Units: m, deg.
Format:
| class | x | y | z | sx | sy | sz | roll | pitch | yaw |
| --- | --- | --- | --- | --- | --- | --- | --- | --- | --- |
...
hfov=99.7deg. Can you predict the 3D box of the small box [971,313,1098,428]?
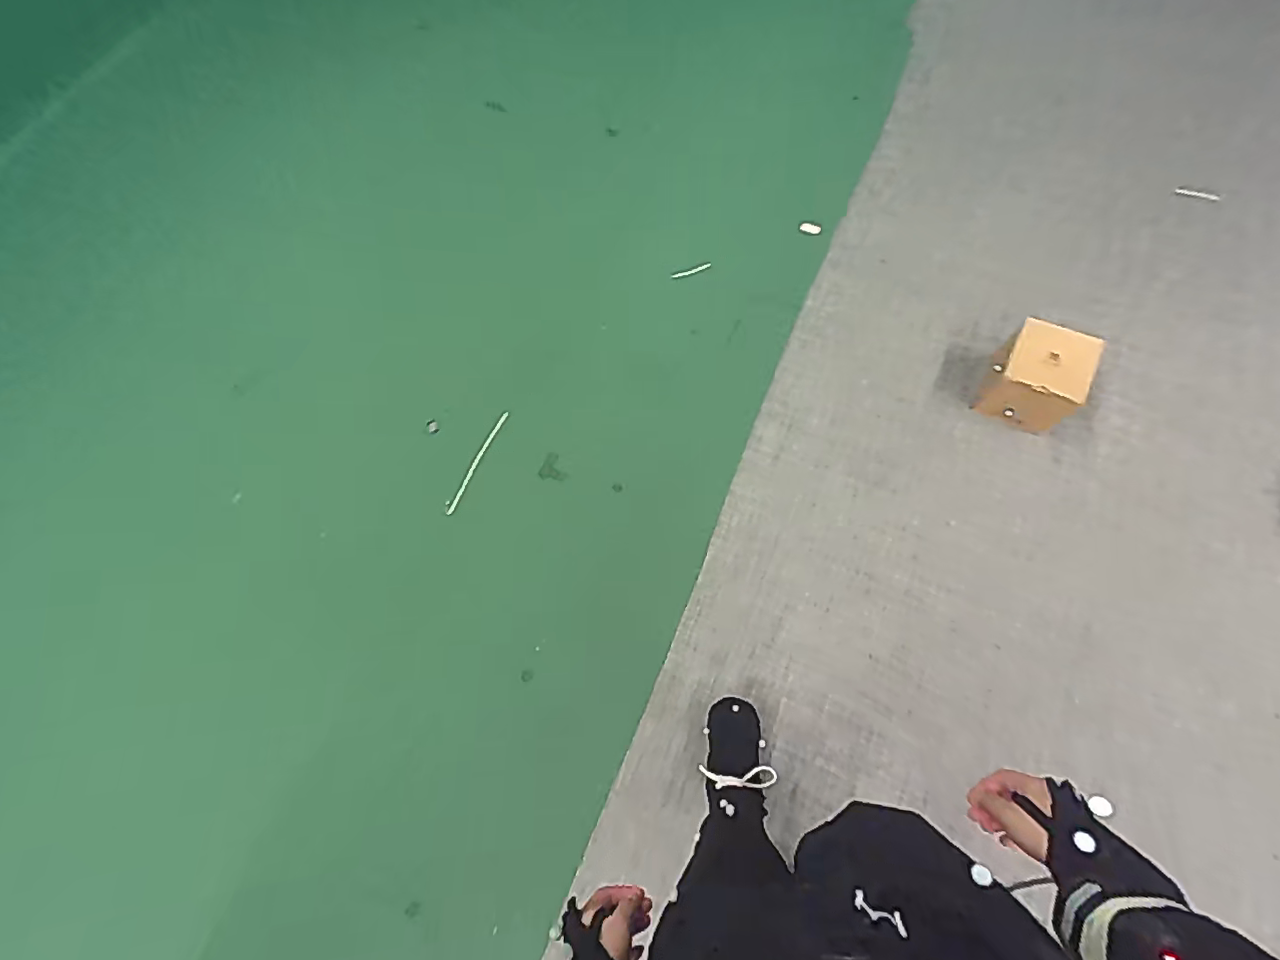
| class | x | y | z | sx | sy | sz | roll | pitch | yaw |
| --- | --- | --- | --- | --- | --- | --- | --- | --- | --- |
| small box | 0.921 | -0.253 | 1.279 | 0.168 | 0.176 | 0.179 | 24 | 76 | 15 |
